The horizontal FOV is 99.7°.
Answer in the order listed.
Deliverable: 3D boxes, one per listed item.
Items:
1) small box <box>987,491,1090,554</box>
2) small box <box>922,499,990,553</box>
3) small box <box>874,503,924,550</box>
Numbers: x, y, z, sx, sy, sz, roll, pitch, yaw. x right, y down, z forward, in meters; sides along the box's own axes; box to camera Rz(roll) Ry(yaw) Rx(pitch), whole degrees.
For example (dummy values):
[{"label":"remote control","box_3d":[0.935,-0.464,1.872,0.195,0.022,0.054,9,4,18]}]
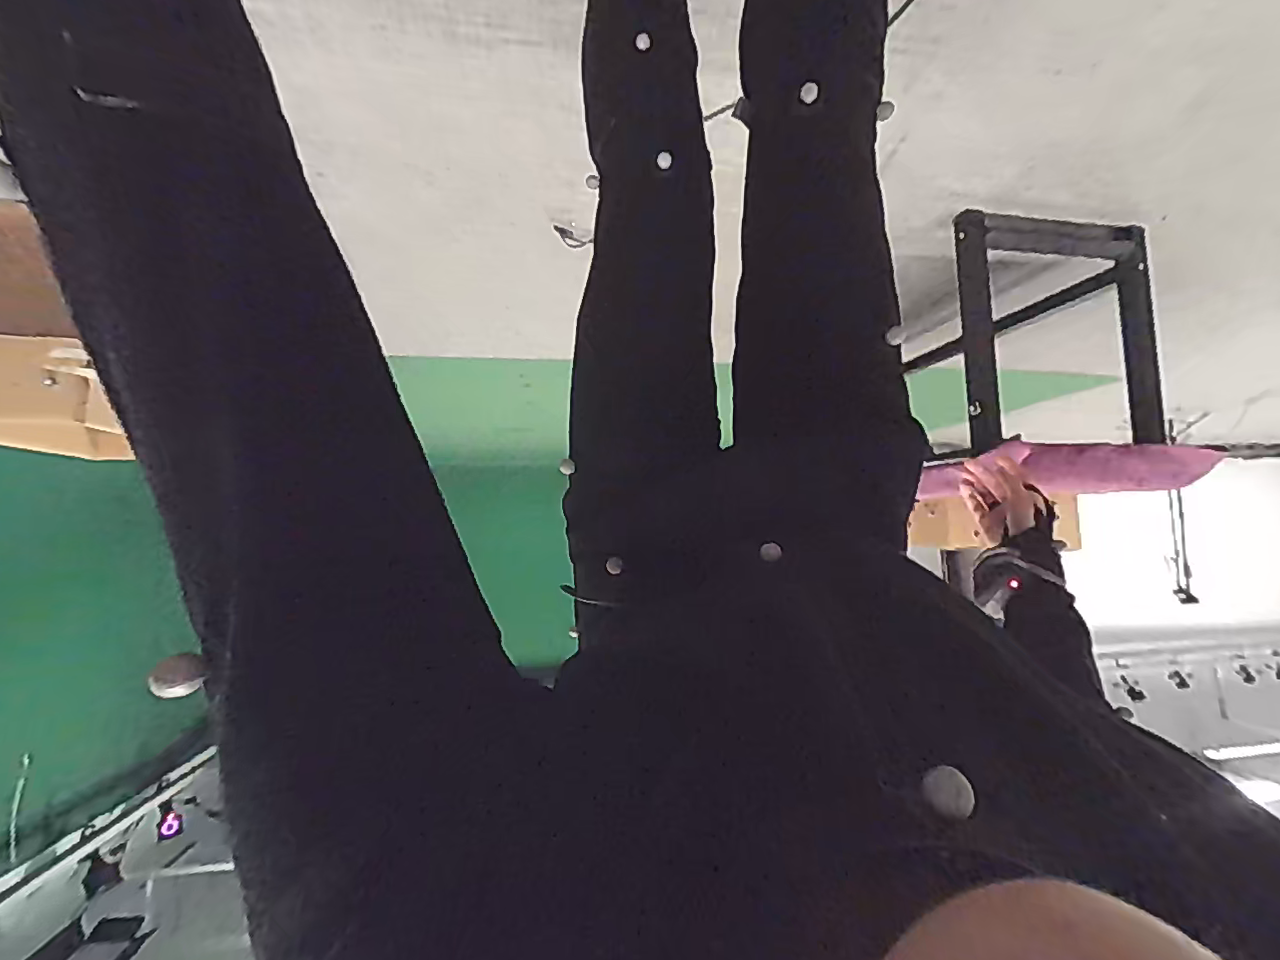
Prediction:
[{"label":"small box","box_3d":[1.111,0.121,1.519,0.179,0.176,0.168,1,174,-12]},{"label":"small box","box_3d":[1.061,0.149,1.782,0.179,0.176,0.168,0,174,-7]},{"label":"small box","box_3d":[1.002,0.175,2.033,0.168,0.176,0.179,1,174,-14]}]
